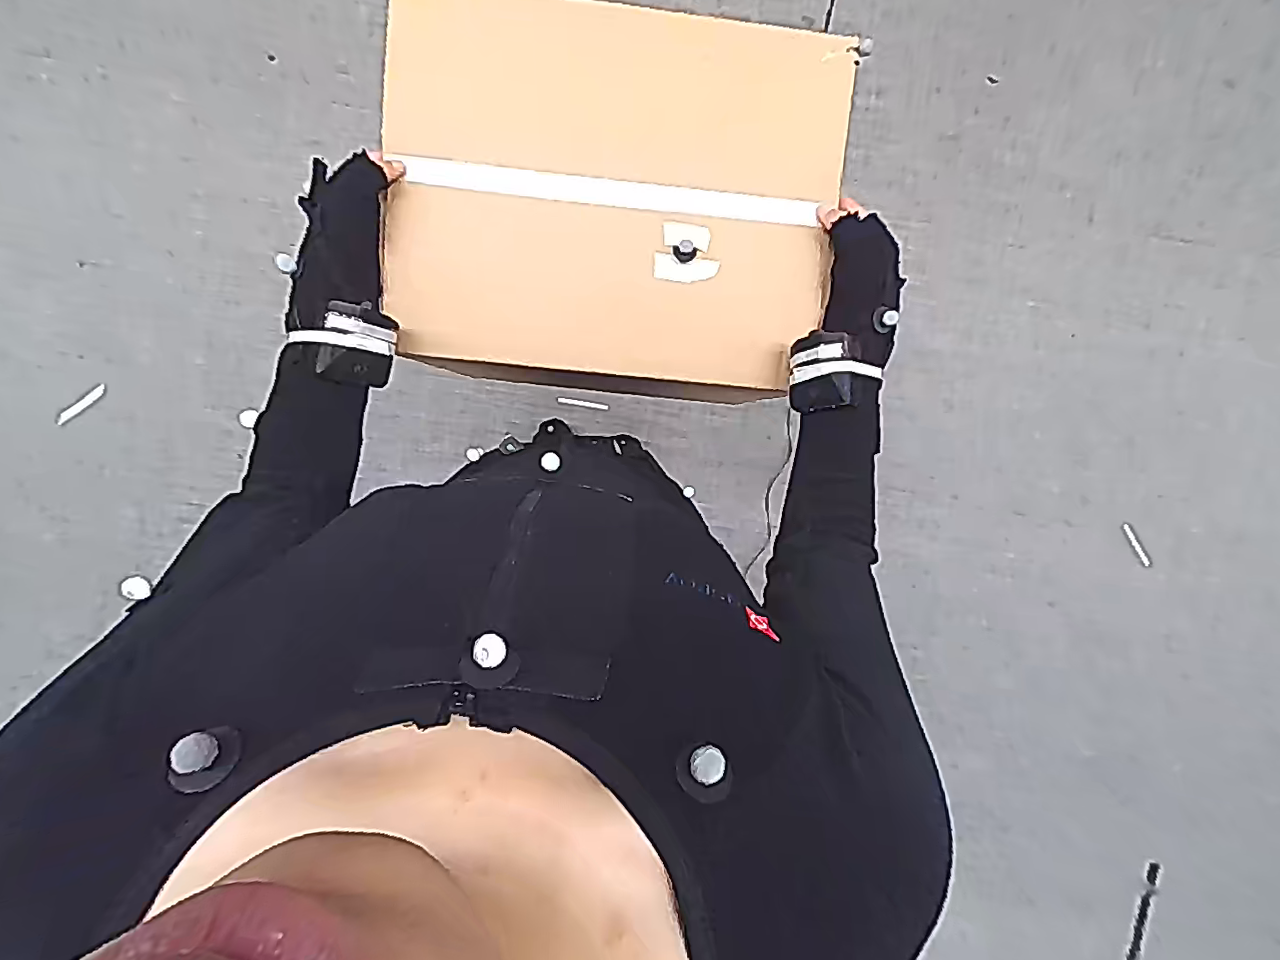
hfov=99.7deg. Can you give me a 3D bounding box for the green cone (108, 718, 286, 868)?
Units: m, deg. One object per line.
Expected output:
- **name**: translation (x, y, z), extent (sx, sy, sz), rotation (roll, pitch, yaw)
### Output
- **green cone**: translation (-1.103, 0.787, 1.320), extent (0.202, 0.368, 0.200), rotation (-29, 93, 2)

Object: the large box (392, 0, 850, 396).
- **large box**: translation (-0.028, -0.274, 0.635), extent (0.408, 0.320, 0.320), rotation (5, 96, -4)
